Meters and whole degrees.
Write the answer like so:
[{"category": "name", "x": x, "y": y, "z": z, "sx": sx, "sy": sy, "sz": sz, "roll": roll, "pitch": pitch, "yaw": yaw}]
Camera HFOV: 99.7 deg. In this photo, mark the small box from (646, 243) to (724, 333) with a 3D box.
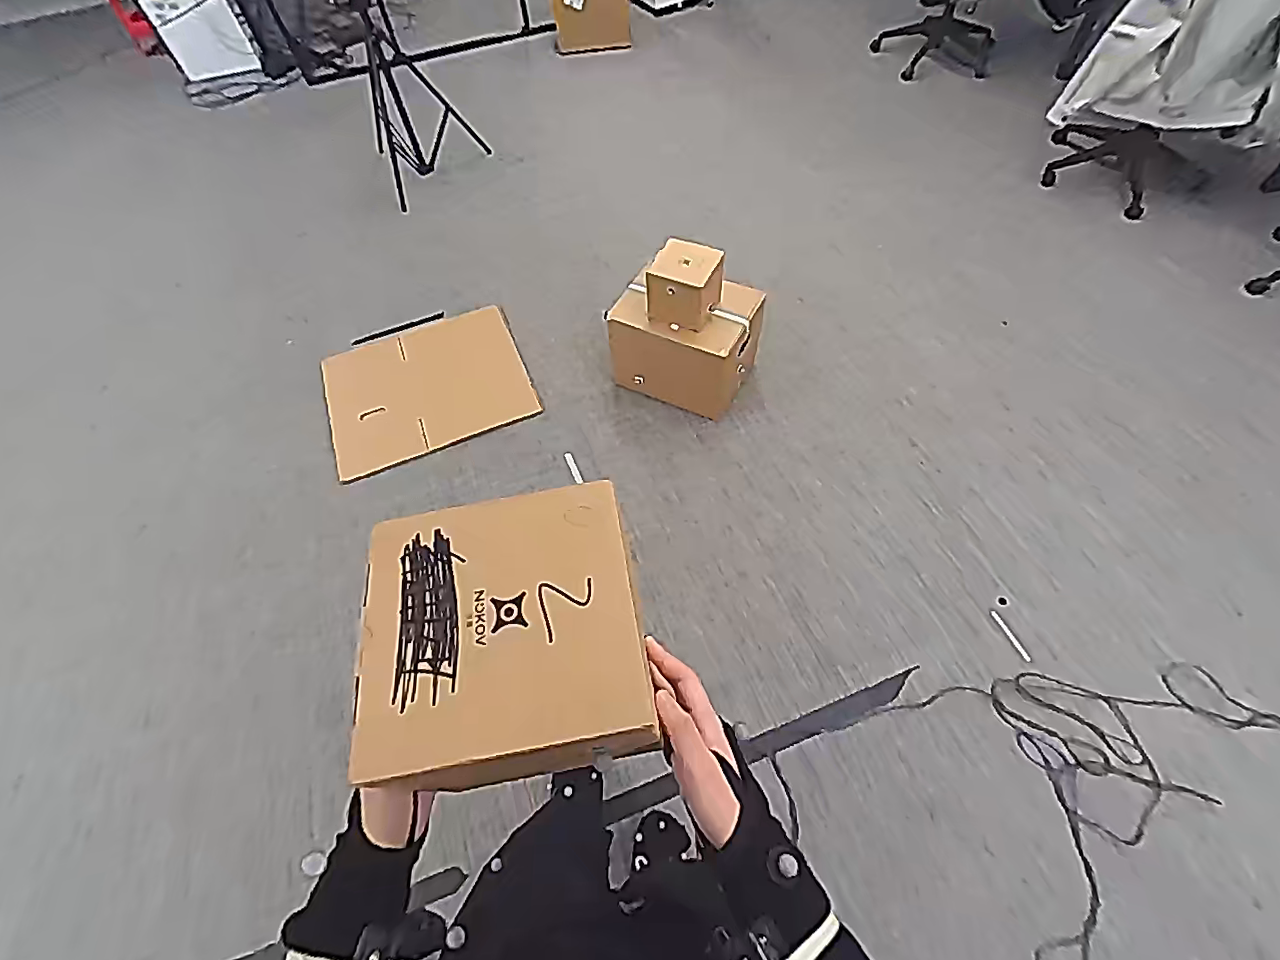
[{"category": "small box", "x": 0.132, "y": -0.561, "z": 1.592, "sx": 0.179, "sy": 0.176, "sz": 0.168, "roll": 22, "pitch": 64, "yaw": 15}]
